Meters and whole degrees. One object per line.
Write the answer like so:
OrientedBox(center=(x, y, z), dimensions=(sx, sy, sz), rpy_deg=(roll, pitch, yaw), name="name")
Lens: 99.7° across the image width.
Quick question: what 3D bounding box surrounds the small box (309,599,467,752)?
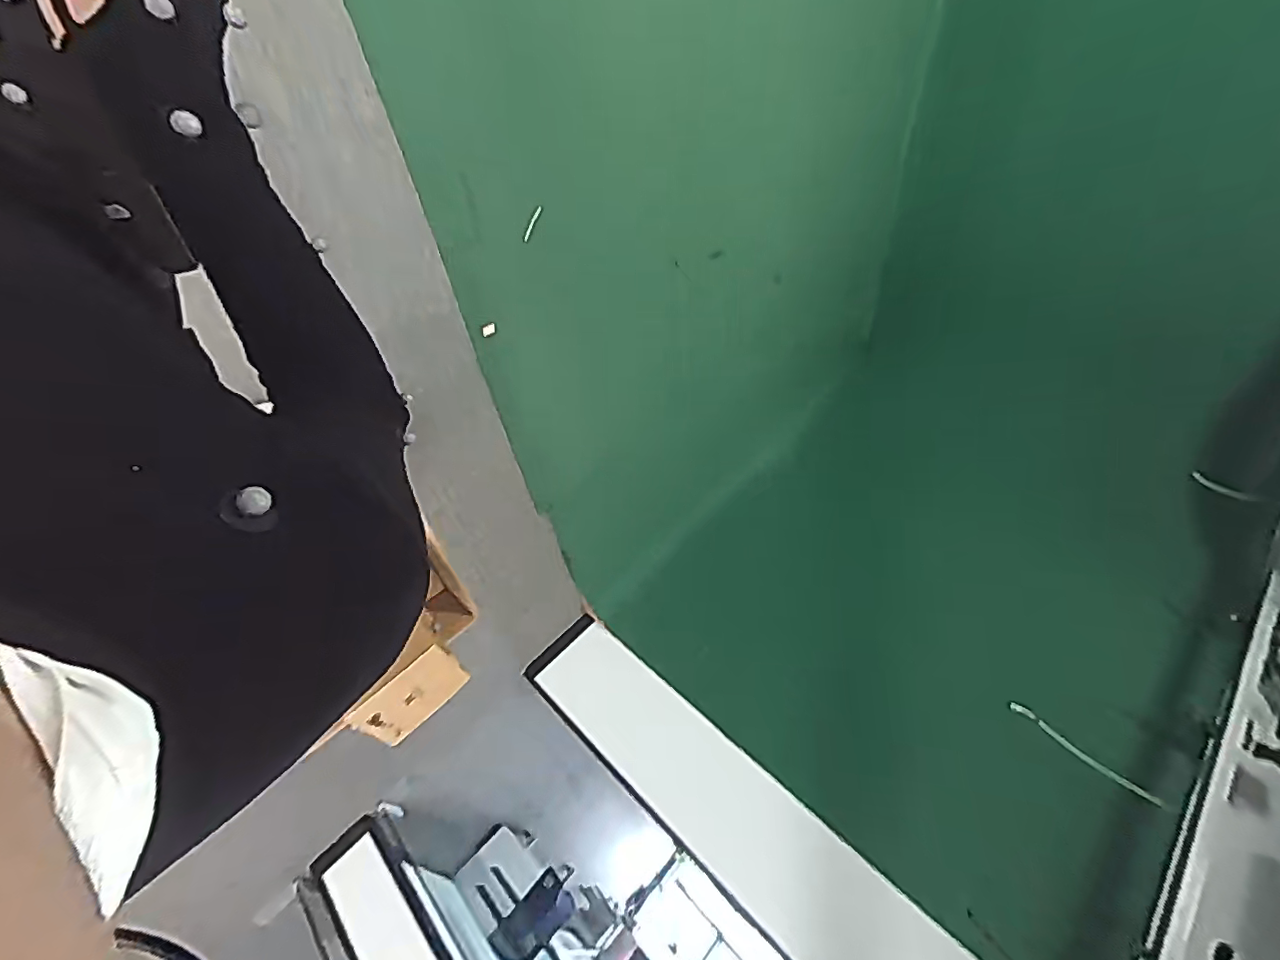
OrientedBox(center=(-0.460, 0.352, 0.993), dimensions=(0.179, 0.176, 0.168), rpy_deg=(-41, 144, -22), name="small box")
